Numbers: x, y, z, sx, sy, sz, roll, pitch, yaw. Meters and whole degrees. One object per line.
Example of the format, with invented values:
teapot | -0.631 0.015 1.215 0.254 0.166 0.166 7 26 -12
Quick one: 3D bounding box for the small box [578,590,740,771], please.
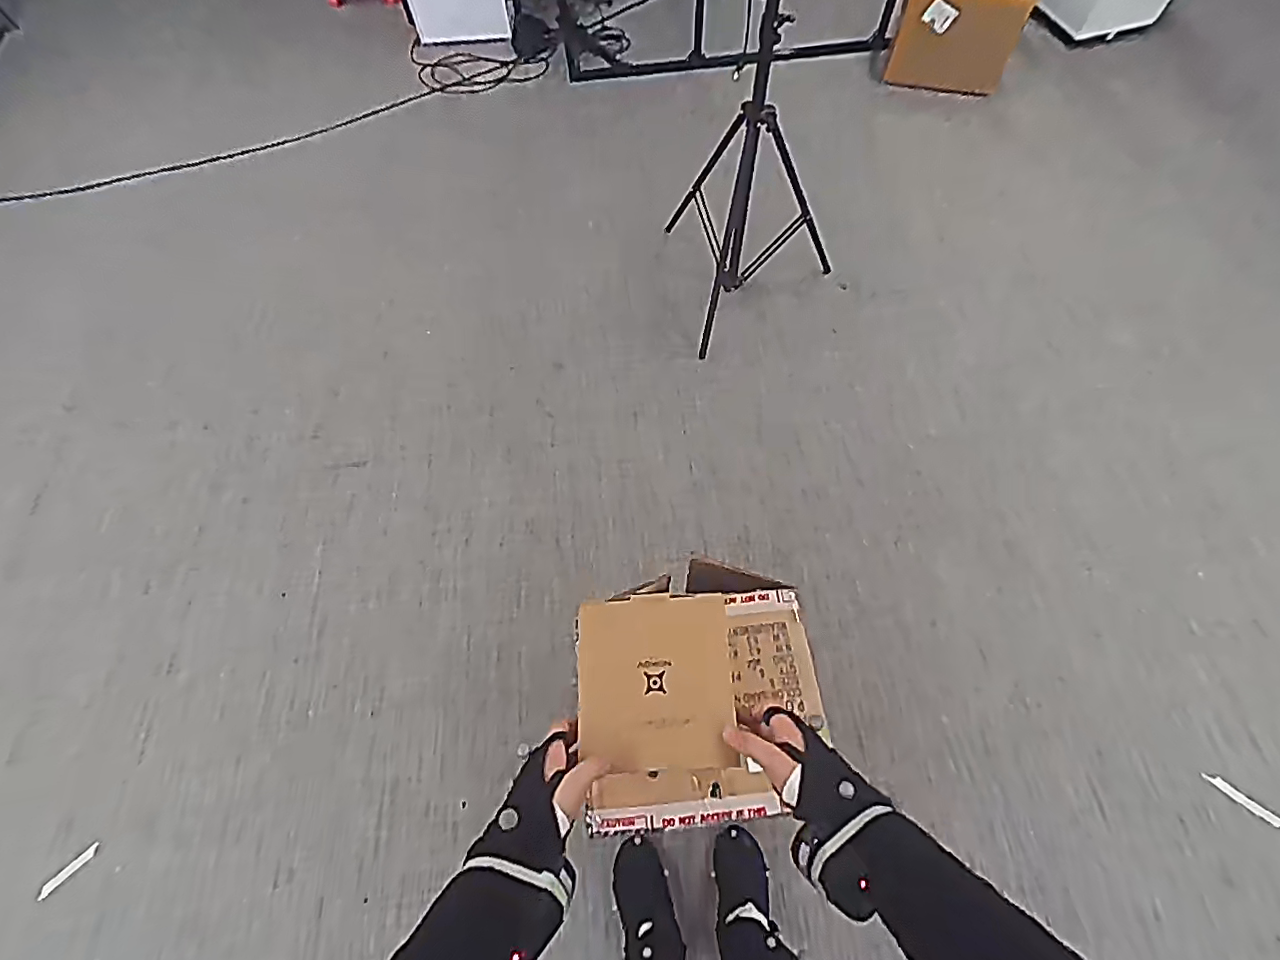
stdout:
small box | 0.020 0.239 0.645 0.168 0.176 0.179 -5 67 2
